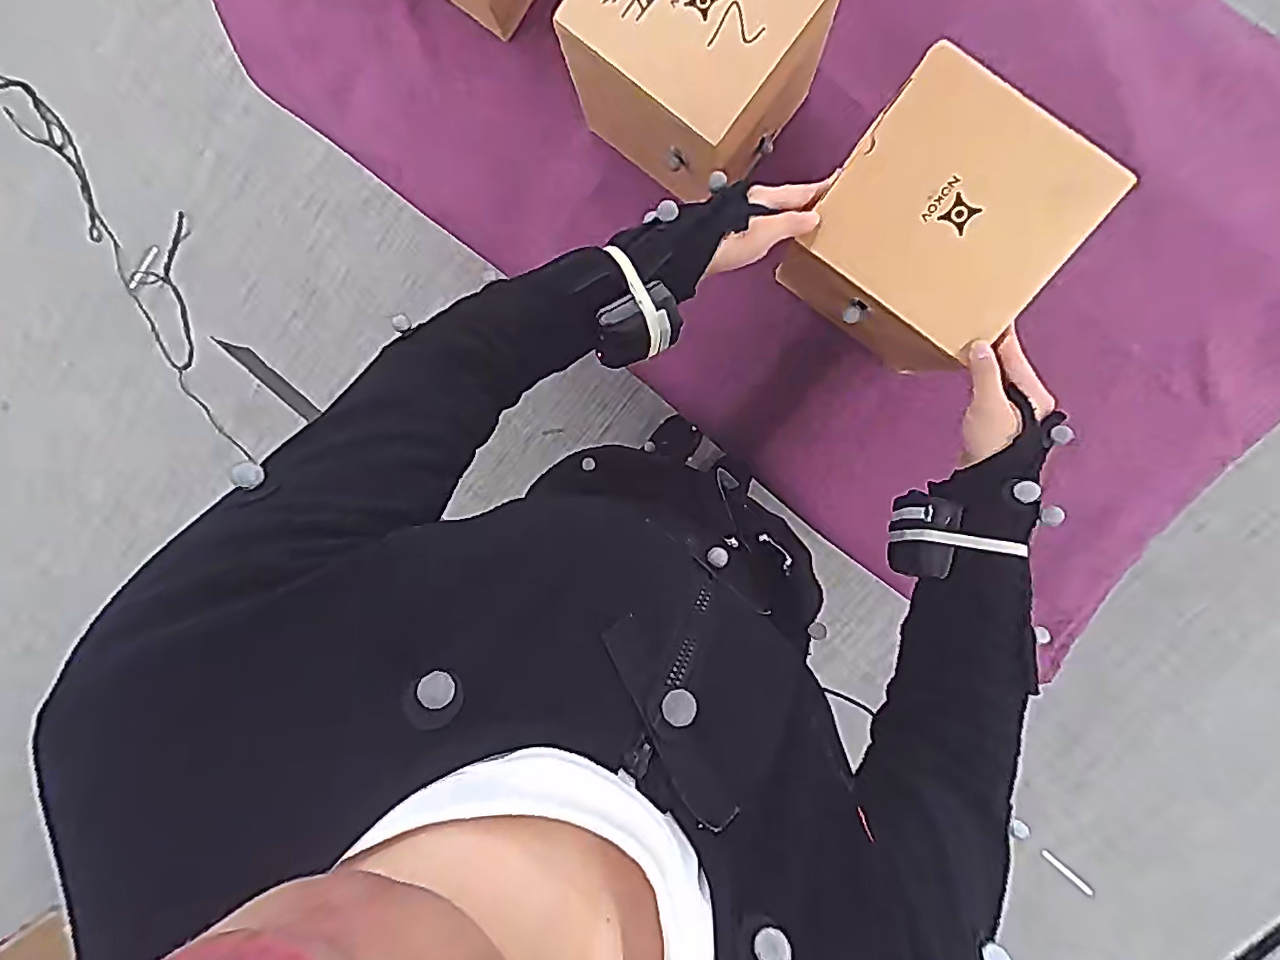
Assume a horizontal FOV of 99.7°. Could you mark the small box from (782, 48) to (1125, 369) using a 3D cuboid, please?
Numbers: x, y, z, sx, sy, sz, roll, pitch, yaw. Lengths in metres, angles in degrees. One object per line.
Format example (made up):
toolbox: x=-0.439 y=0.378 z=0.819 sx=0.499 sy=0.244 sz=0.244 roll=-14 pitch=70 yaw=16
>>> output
small box: x=0.250 y=-0.216 z=0.487 sx=0.179 sy=0.176 sz=0.168 roll=38 pitch=103 yaw=3

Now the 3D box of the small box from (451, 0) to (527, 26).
small box: x=-0.173 y=-0.597 z=0.517 sx=0.179 sy=0.176 sz=0.168 roll=37 pitch=98 yaw=-1
